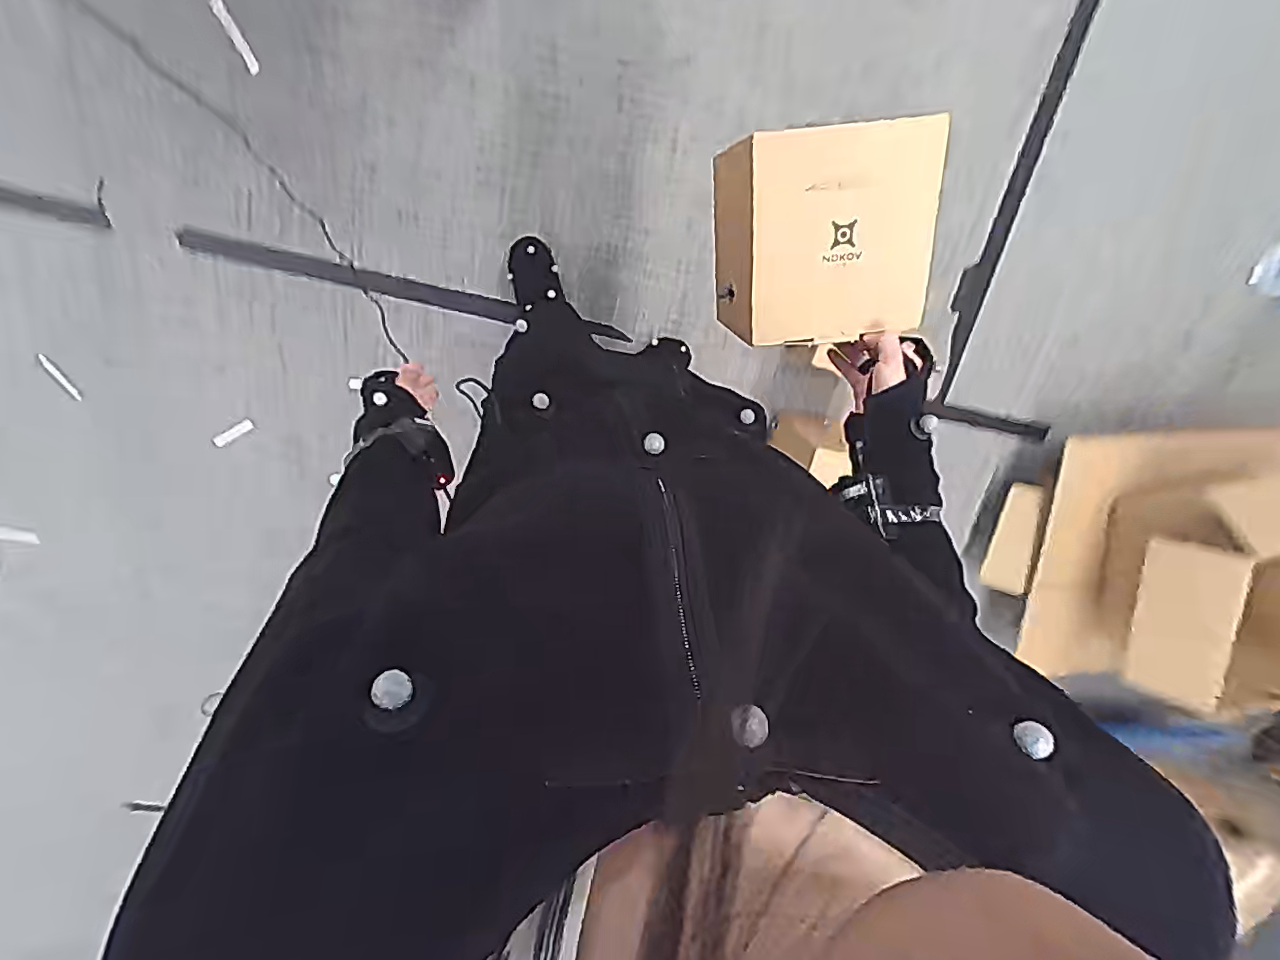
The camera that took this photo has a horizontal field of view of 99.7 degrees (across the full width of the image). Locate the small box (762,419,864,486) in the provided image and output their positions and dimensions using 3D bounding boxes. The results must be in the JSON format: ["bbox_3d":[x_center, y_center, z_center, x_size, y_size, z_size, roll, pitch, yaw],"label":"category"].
[{"bbox_3d":[0.428,-0.050,1.378,0.179,0.176,0.168,10,110,-7],"label":"small box"}]

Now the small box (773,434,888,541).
[{"bbox_3d":[0.418,0.009,1.224,0.168,0.176,0.179,13,110,-7],"label":"small box"}]

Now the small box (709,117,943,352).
[{"bbox_3d":[0.168,-0.241,0.545,0.168,0.176,0.179,-8,114,-2],"label":"small box"}]

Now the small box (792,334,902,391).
[{"bbox_3d":[0.482,-0.331,1.276,0.168,0.176,0.179,16,109,-9],"label":"small box"}]
